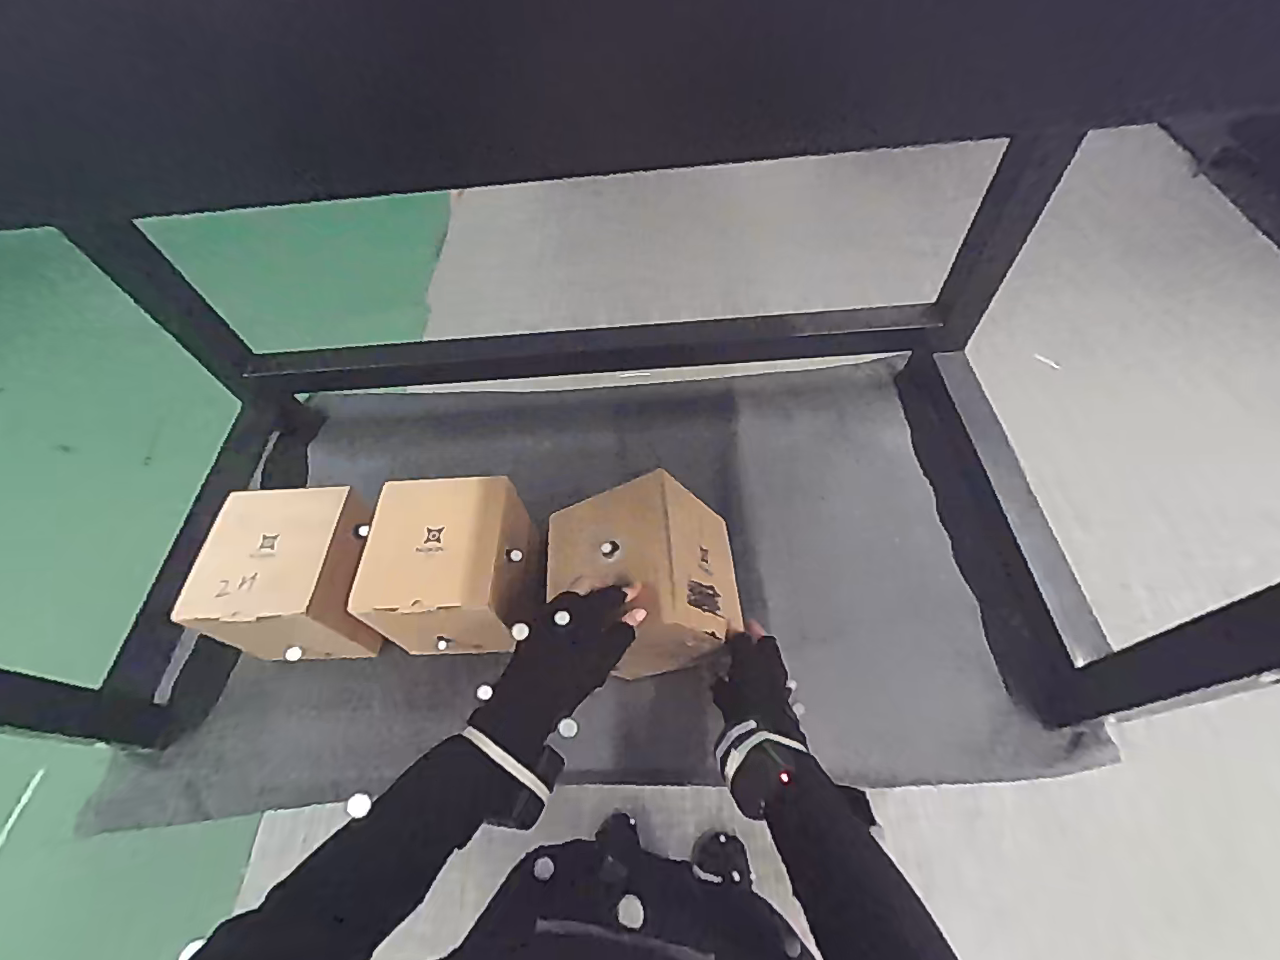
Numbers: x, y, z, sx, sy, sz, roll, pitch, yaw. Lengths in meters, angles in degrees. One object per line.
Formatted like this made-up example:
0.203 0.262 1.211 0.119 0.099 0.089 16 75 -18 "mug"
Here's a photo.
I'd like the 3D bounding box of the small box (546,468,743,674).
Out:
0.003 0.120 0.646 0.176 0.168 0.179 -21 52 24 "small box"
